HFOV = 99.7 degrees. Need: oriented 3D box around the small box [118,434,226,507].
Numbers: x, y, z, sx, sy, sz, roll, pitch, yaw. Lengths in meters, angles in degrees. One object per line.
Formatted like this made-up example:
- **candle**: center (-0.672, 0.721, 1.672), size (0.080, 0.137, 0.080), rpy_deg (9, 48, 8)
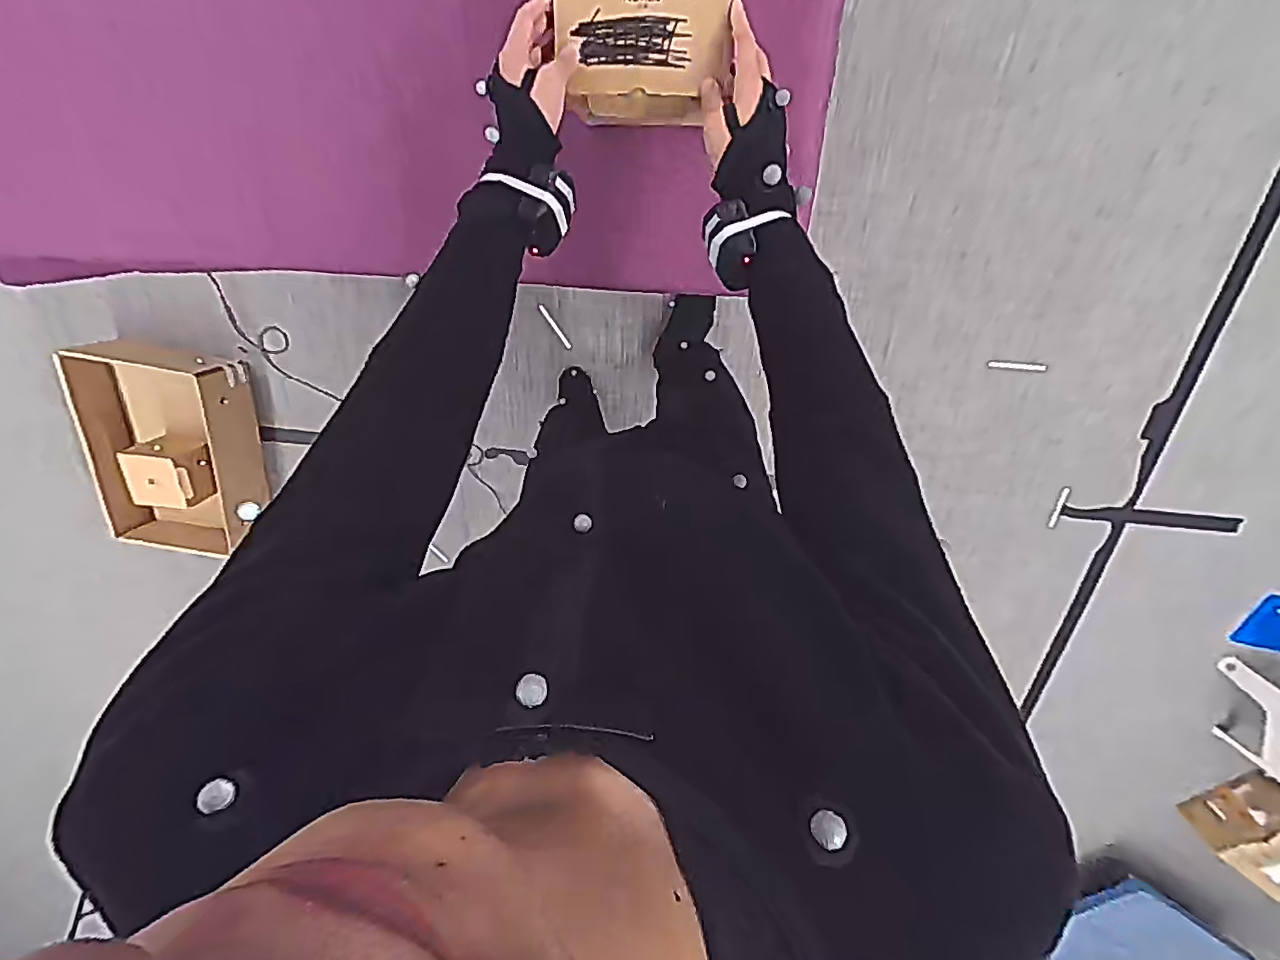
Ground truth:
- **small box**: center (-1.417, -0.033, 1.655), size (0.179, 0.176, 0.168), rpy_deg (5, 114, 2)
